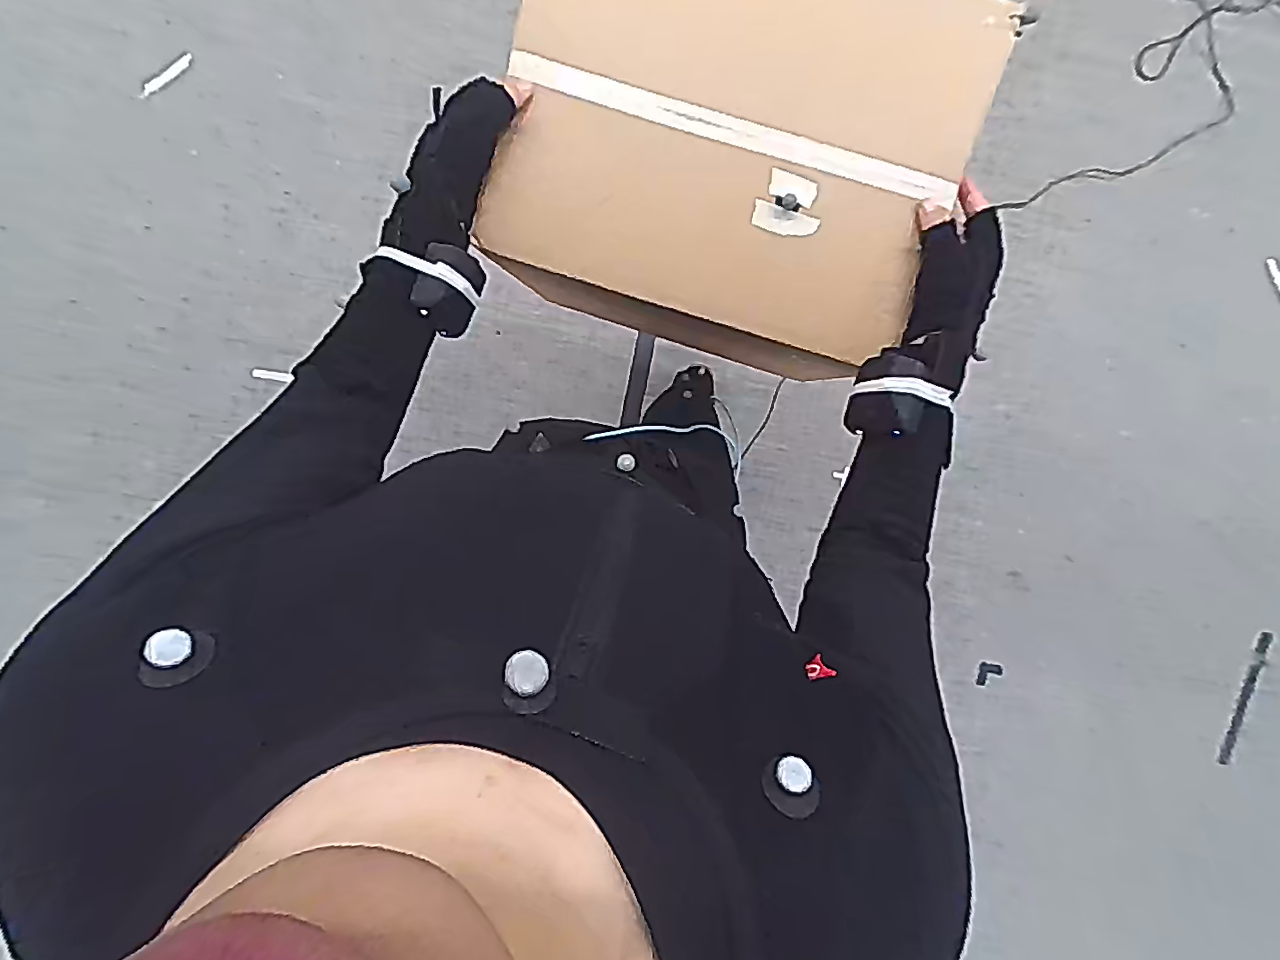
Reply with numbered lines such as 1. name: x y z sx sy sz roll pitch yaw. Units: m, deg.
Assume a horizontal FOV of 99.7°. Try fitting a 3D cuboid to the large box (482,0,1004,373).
1. large box: 0.084 -0.331 0.628 0.408 0.320 0.320 17 100 -1
